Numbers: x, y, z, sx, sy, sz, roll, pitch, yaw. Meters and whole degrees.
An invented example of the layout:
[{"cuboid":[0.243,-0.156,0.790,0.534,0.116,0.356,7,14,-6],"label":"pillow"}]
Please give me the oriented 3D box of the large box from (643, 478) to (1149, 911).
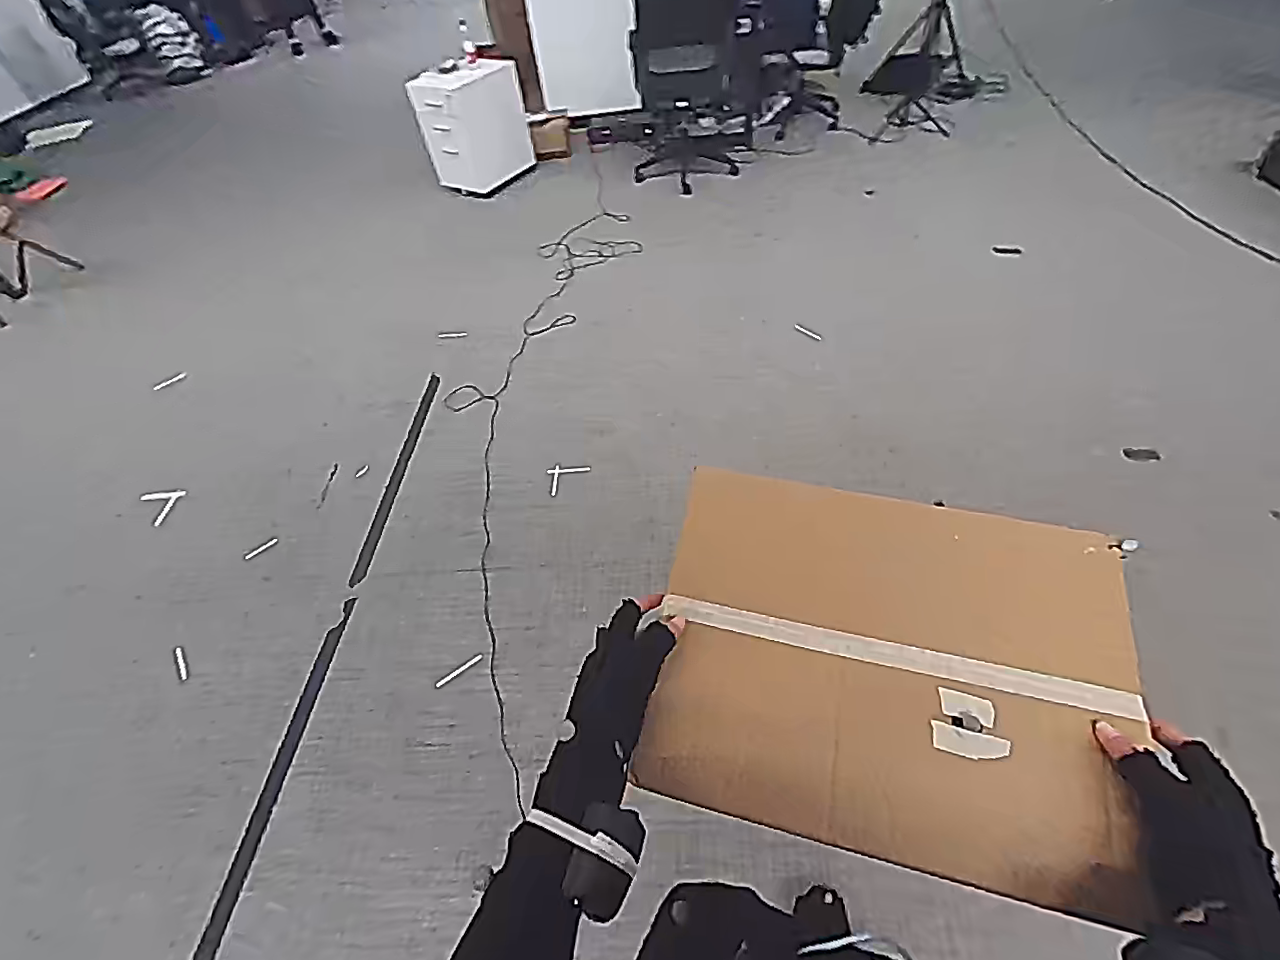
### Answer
[{"cuboid":[0.237,0.227,0.635,0.408,0.320,0.320,10,65,11],"label":"large box"}]
